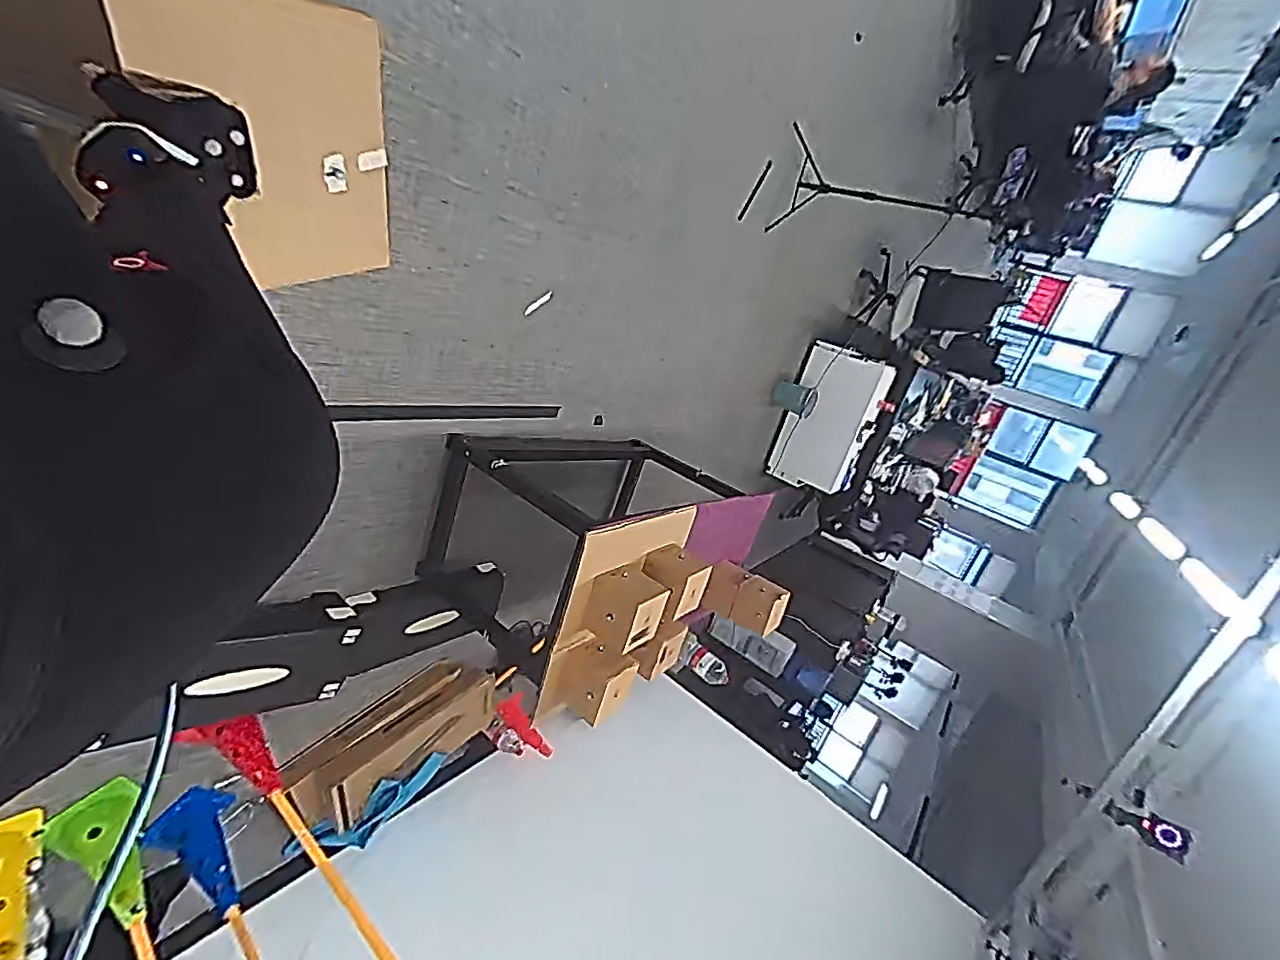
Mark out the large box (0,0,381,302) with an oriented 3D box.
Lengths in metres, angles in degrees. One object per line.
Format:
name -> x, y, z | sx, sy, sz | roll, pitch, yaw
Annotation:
large box -> -0.615, -0.467, 0.700 | 0.320, 0.408, 0.320 | -48, 157, -52
